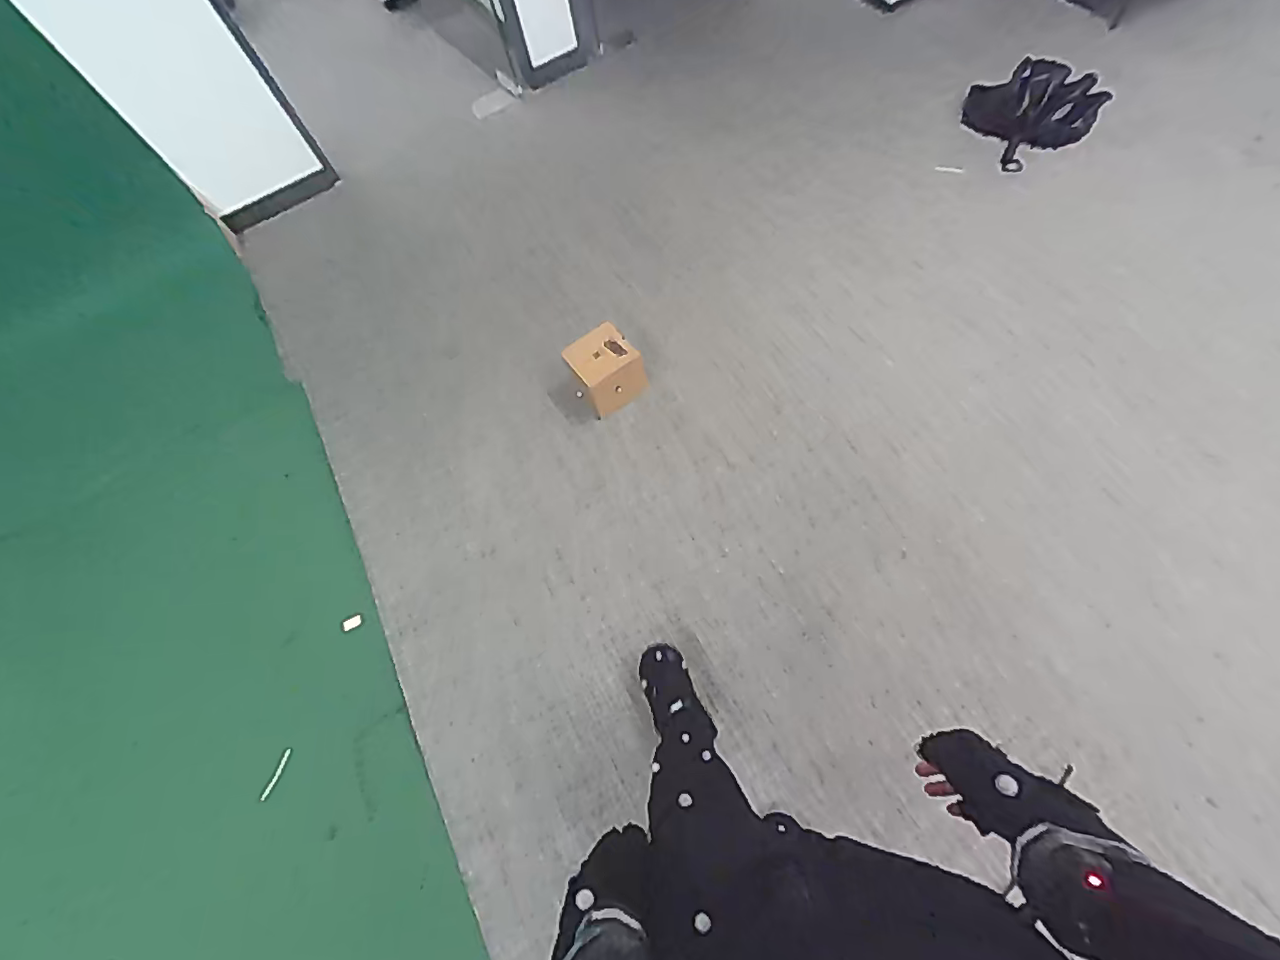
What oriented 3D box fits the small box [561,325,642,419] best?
[{"bbox_3d":[-0.106,-0.317,1.605,0.179,0.176,0.168,-38,66,-11],"label":"small box"}]
